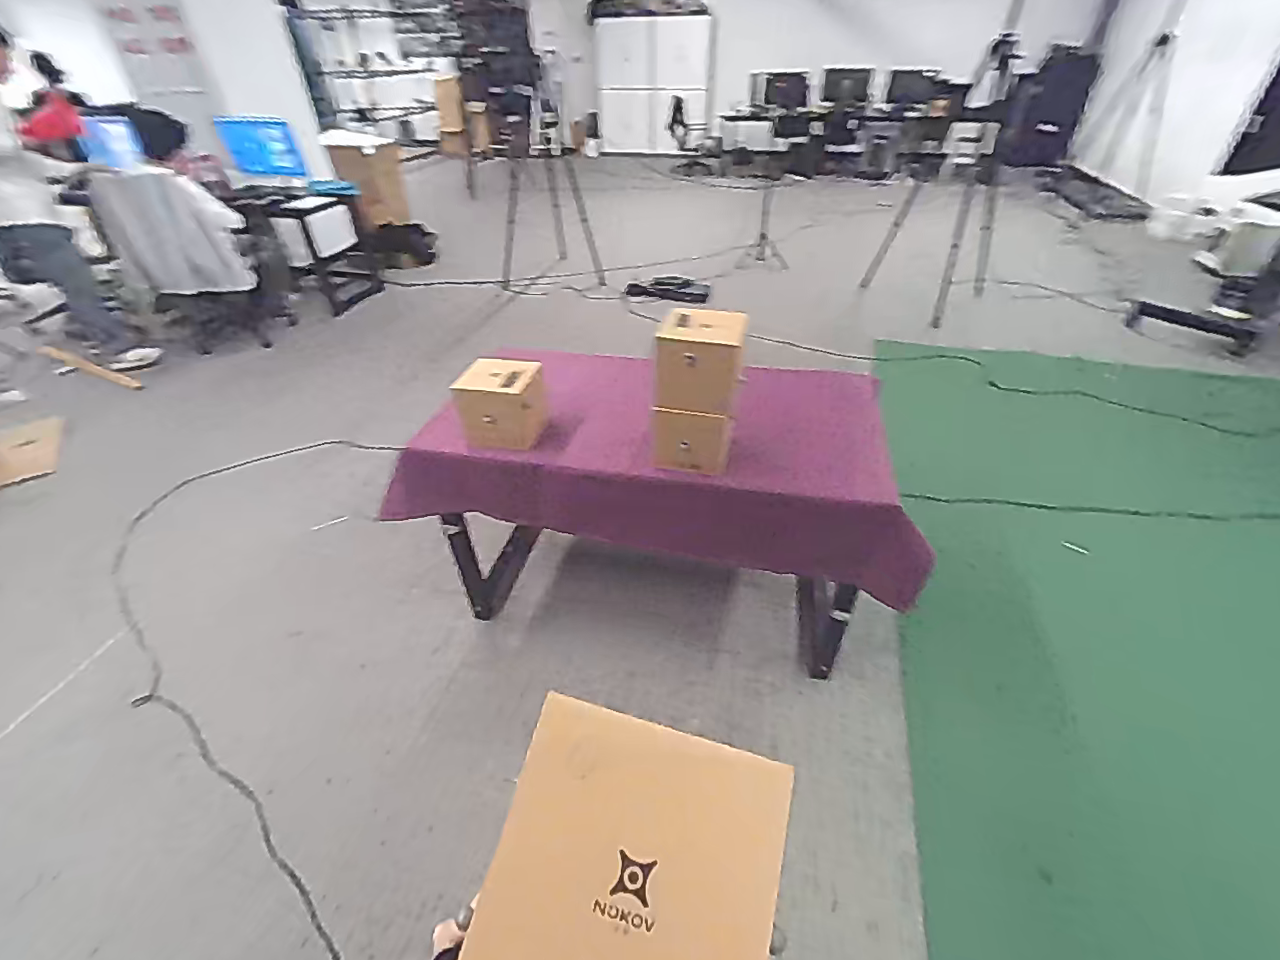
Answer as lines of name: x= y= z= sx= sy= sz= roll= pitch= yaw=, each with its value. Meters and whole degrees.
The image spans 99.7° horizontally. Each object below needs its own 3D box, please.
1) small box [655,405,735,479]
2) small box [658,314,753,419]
small box: x=0.137 y=-0.122 z=1.299 sx=0.168 sy=0.176 sz=0.179 roll=10 pitch=39 yaw=13
small box: x=0.143 y=-0.252 z=1.197 sx=0.179 sy=0.176 sz=0.168 roll=10 pitch=40 yaw=13
